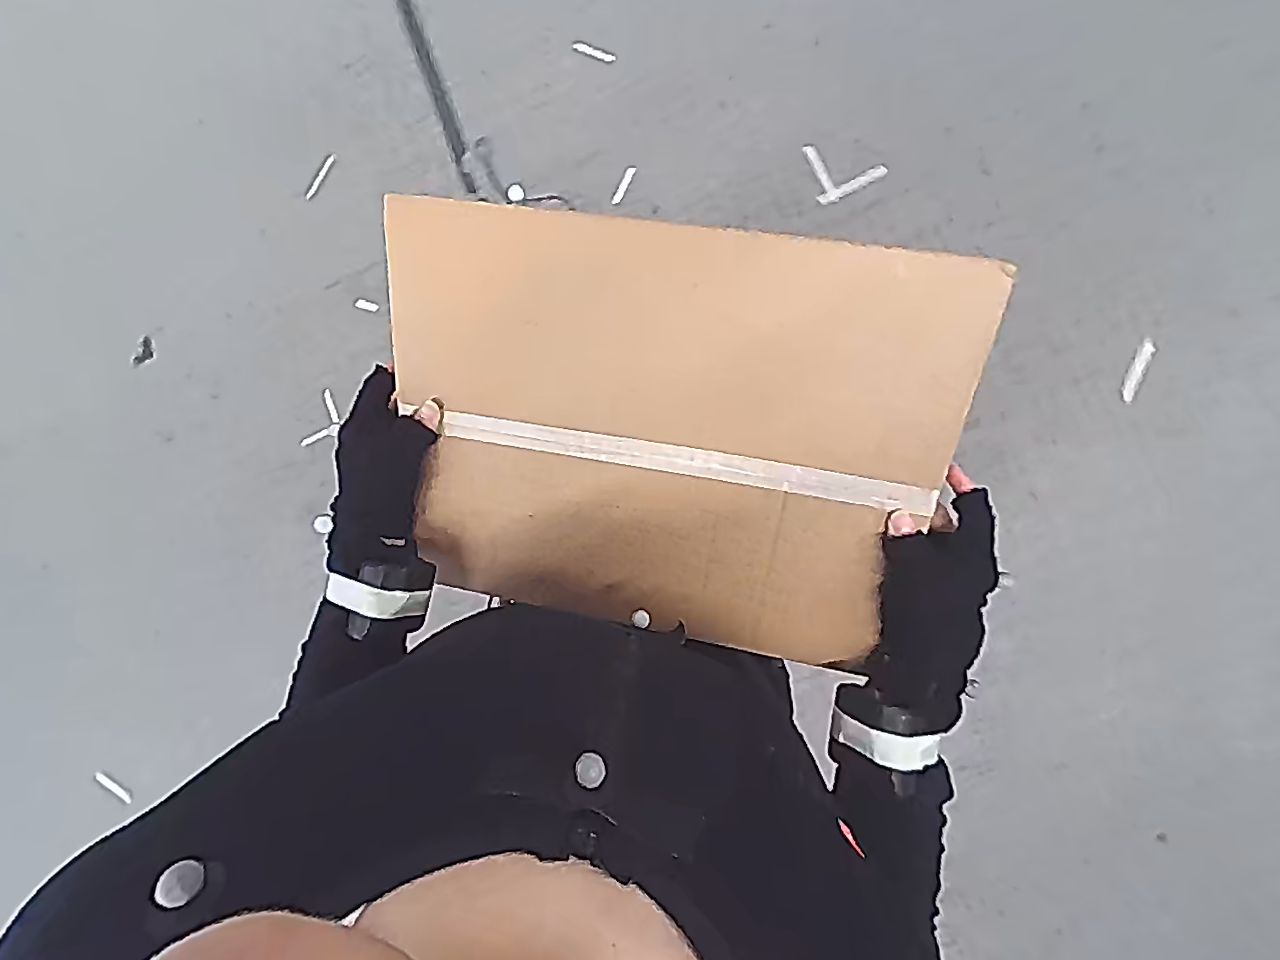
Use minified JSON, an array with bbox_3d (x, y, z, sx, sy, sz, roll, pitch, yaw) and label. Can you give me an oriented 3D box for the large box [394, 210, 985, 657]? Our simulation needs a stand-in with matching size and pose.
[{"bbox_3d":[0.031,-0.076,0.549,0.408,0.320,0.320,9,114,8],"label":"large box"}]
